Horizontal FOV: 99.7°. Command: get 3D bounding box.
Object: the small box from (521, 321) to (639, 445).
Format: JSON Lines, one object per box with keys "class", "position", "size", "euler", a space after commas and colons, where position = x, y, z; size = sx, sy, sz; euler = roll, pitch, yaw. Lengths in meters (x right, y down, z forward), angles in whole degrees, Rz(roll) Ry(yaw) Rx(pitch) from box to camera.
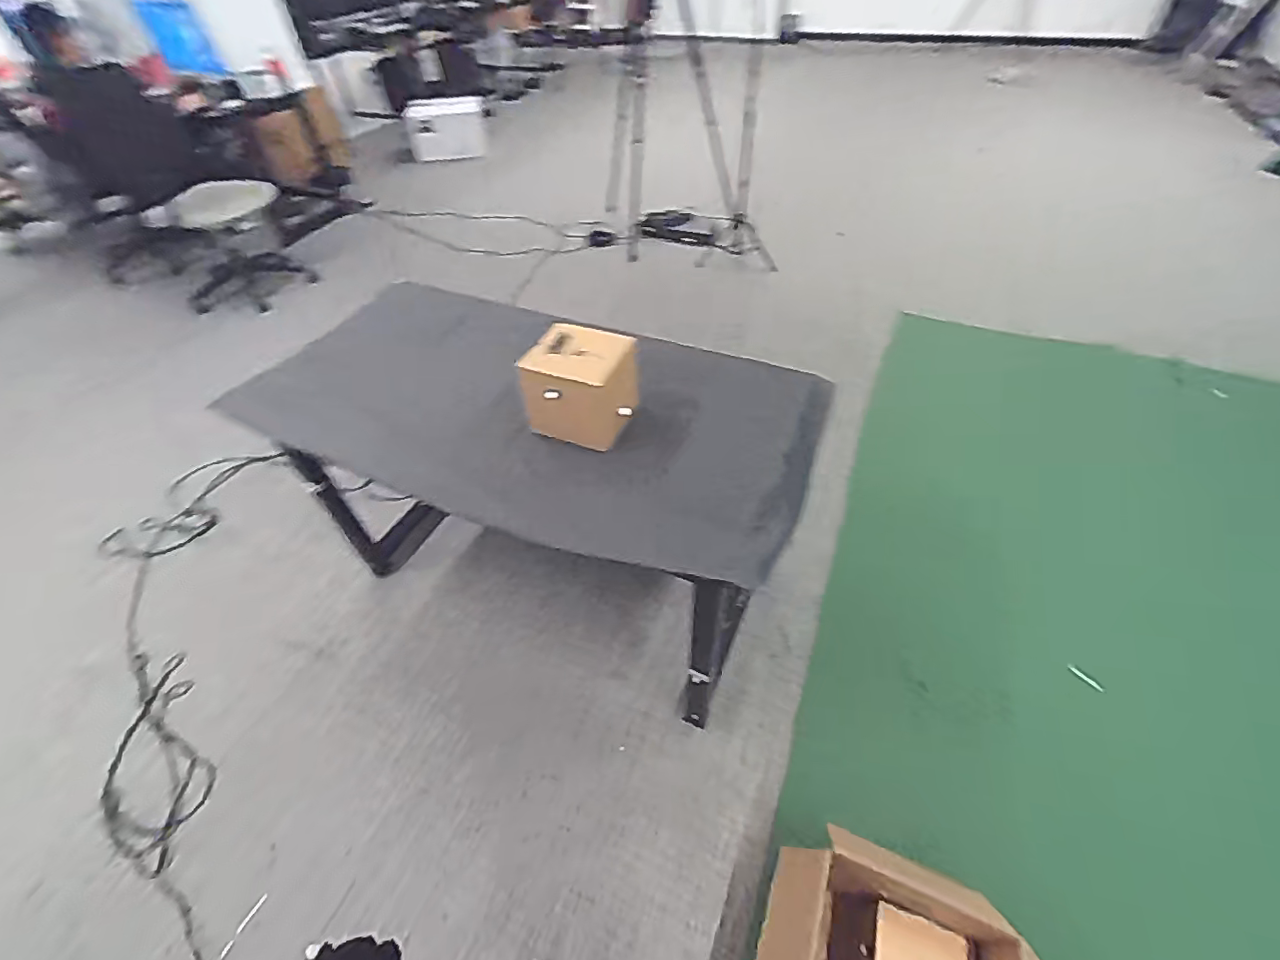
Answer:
{"class": "small box", "position": [-0.112, -0.193, 1.093], "size": [0.179, 0.176, 0.168], "euler": [17, 50, 17]}
